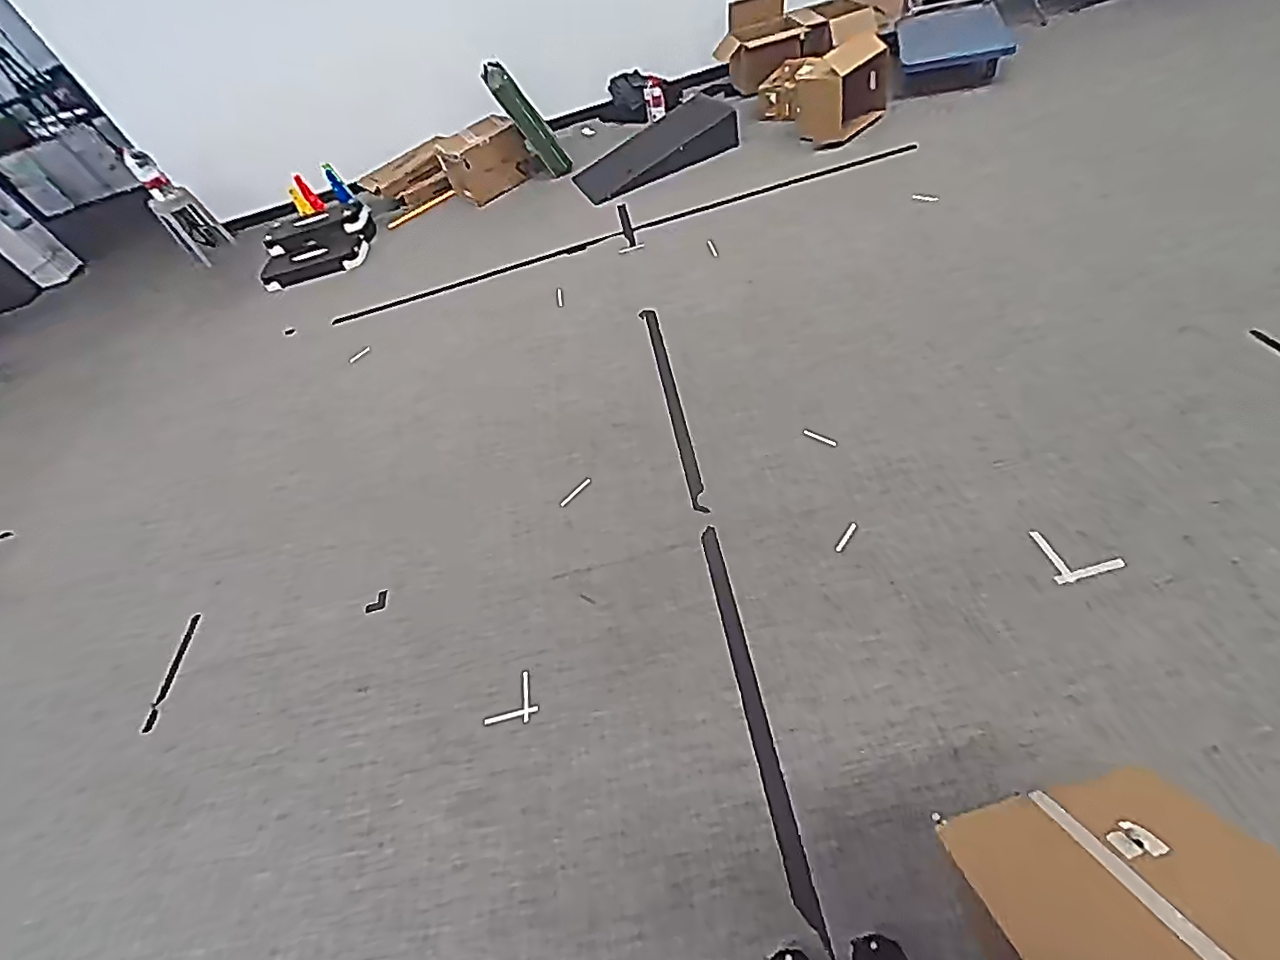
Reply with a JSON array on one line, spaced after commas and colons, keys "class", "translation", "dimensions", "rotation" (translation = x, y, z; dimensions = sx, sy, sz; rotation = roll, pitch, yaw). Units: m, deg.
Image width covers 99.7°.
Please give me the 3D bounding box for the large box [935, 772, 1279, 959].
[{"class": "large box", "translation": [0.626, 0.620, 0.608], "dimensions": [0.320, 0.408, 0.320], "rotation": [-20, 87, 5]}]
